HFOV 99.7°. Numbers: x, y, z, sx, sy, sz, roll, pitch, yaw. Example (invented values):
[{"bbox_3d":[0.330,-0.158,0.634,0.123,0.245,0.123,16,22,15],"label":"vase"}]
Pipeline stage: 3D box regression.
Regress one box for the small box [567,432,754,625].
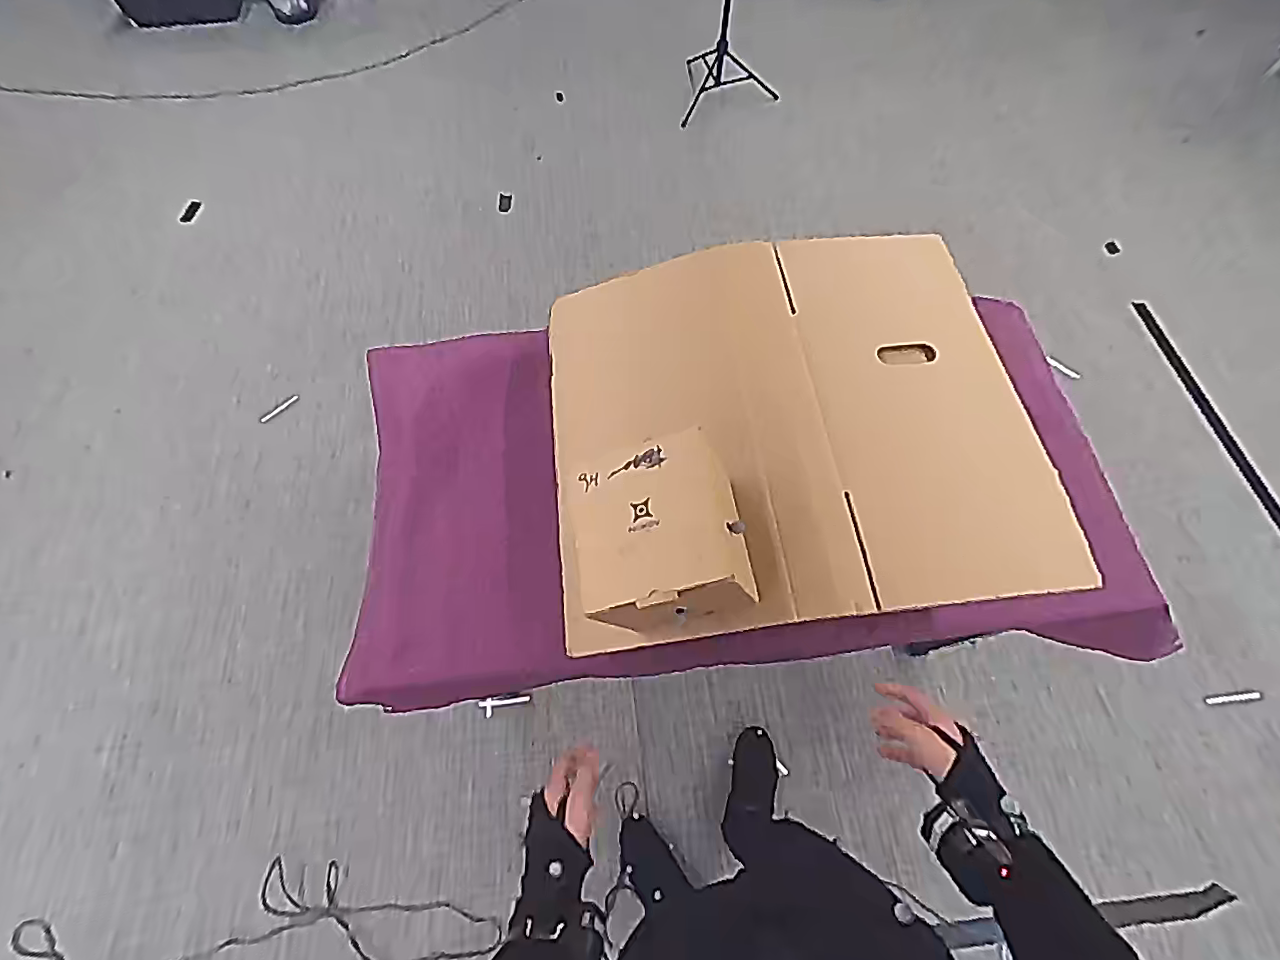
[{"bbox_3d":[0.030,0.071,0.650,0.168,0.176,0.179,-17,65,14],"label":"small box"}]
